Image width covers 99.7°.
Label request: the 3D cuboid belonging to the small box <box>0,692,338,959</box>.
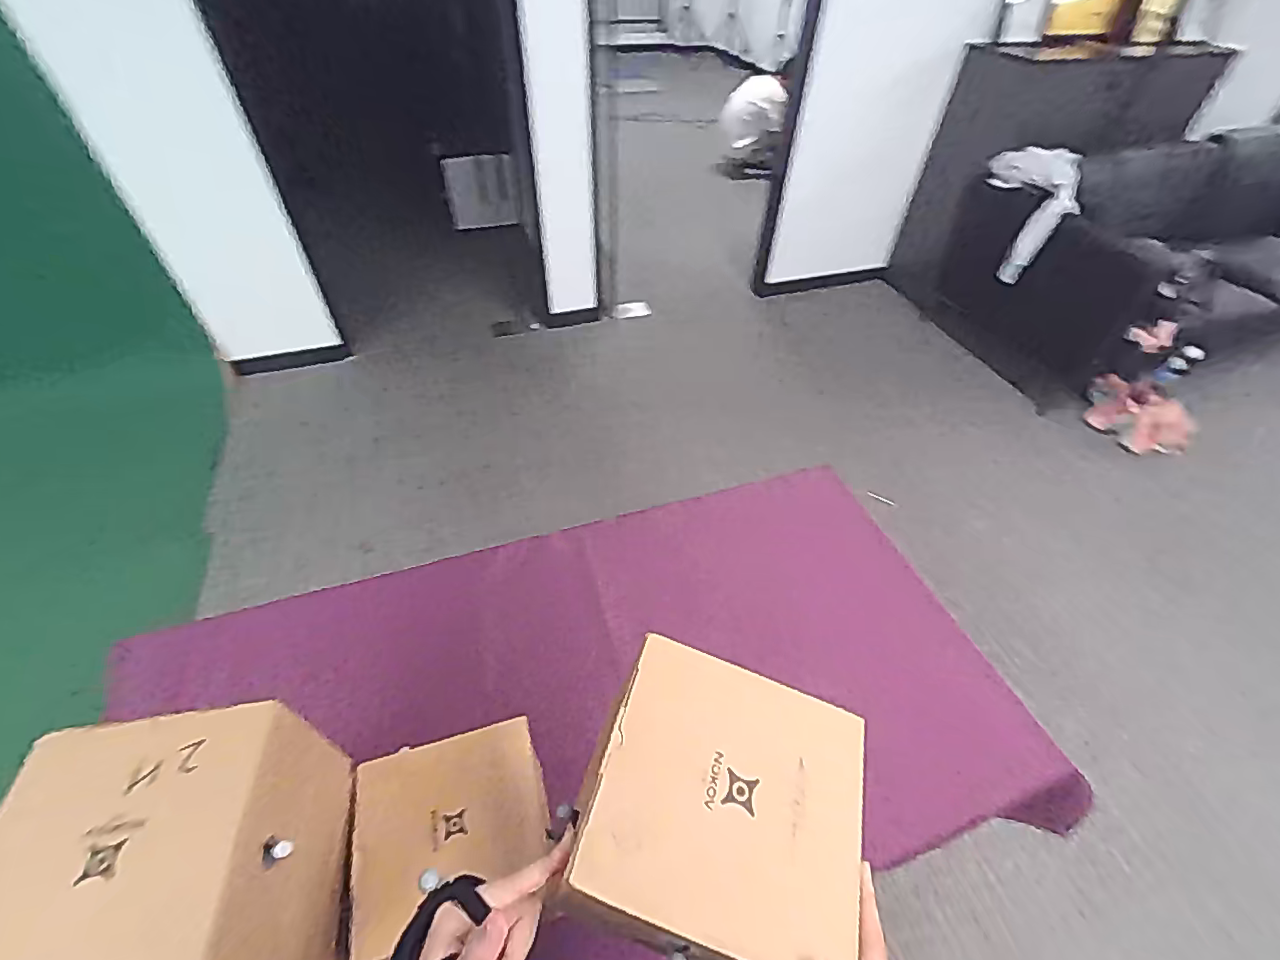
[{"bbox_3d":[-0.358,0.288,0.413,0.168,0.176,0.179,-5,48,-9],"label":"small box"}]

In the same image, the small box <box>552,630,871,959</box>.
[{"bbox_3d":[0.047,0.250,0.409,0.179,0.176,0.168,23,48,4],"label":"small box"}]
